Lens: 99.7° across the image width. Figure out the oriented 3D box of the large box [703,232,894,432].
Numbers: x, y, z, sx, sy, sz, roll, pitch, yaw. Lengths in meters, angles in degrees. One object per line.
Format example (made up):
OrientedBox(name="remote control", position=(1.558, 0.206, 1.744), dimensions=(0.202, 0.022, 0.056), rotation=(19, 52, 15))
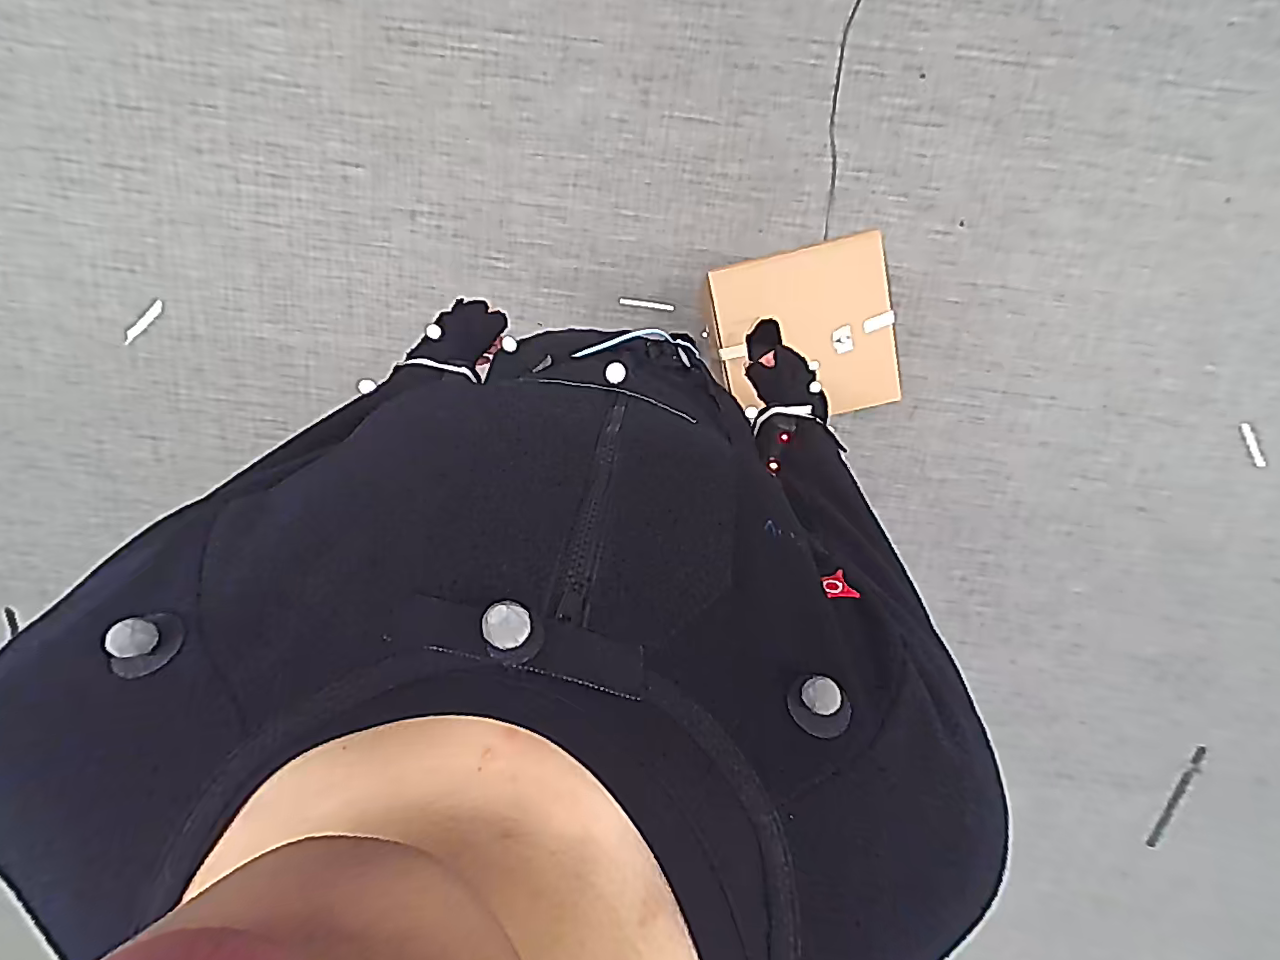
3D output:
OrientedBox(name="large box", position=(0.323, -0.315, 1.198), dimensions=(0.320, 0.408, 0.320), rotation=(-11, 103, 8))
